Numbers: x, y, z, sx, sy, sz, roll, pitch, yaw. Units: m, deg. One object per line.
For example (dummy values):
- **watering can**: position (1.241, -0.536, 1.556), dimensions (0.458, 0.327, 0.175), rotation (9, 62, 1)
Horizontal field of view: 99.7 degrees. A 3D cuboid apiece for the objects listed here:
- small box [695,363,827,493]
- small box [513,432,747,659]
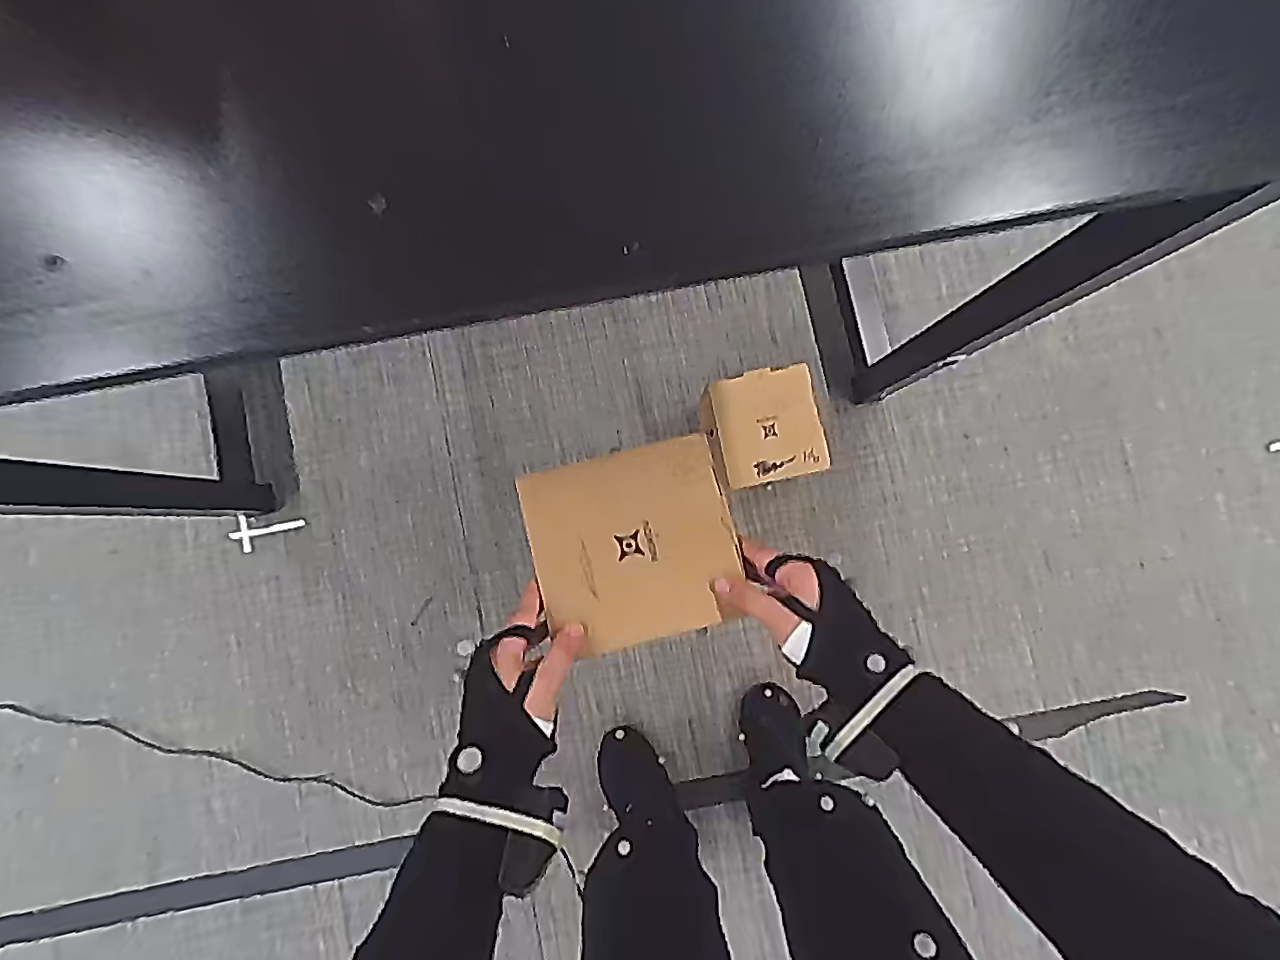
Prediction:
- **small box**: position (0.197, -0.081, 0.931), dimensions (0.168, 0.176, 0.179), rotation (-12, 85, -1)
- **small box**: position (-0.010, 0.067, 0.550), dimensions (0.179, 0.176, 0.168), rotation (-15, 79, -1)
